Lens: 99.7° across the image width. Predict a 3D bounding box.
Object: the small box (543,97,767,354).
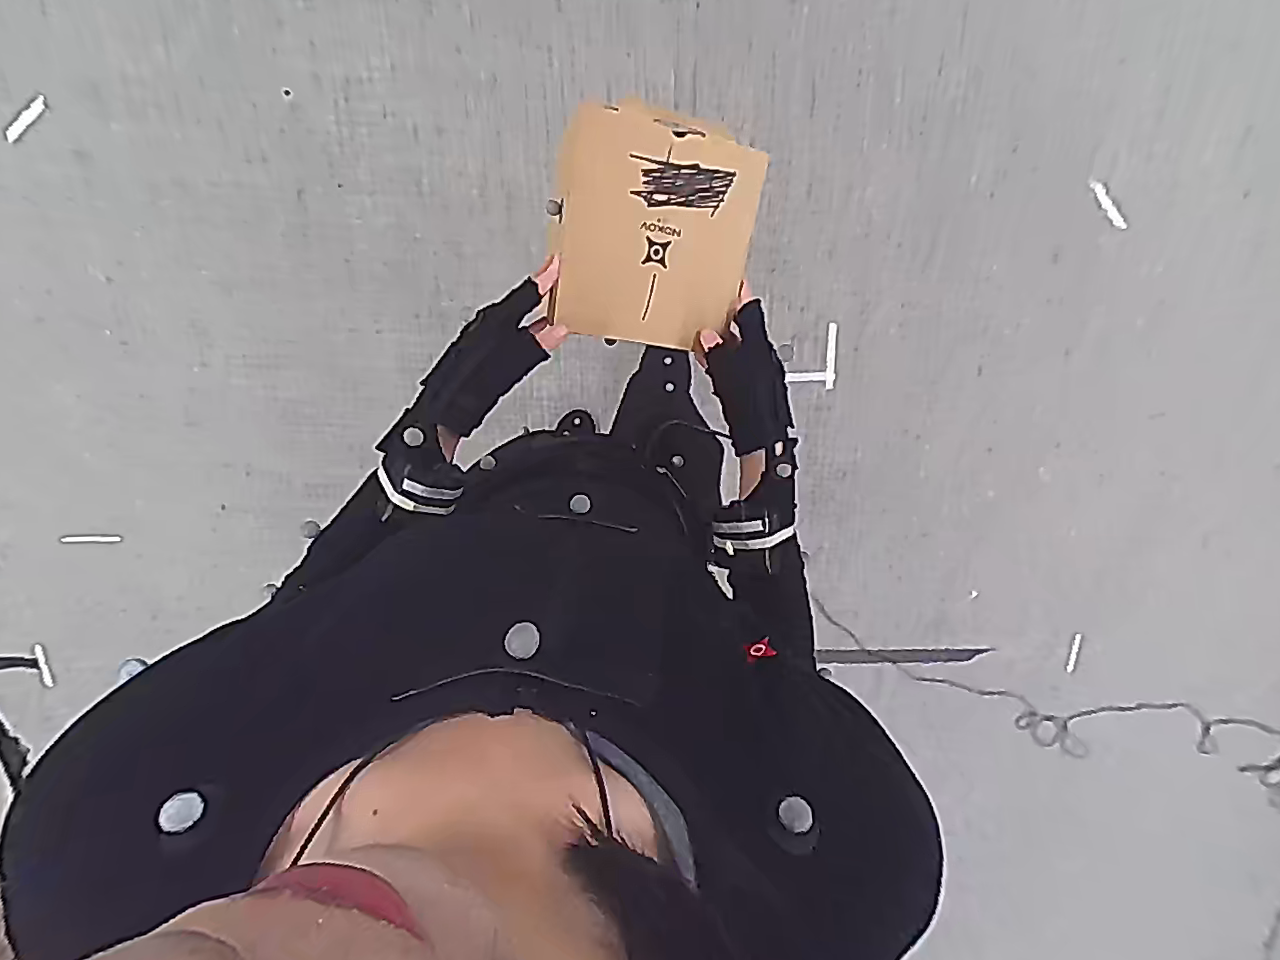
[{"bbox_3d":[-0.002,-0.234,0.535,0.168,0.176,0.179,5,109,-16],"label":"small box"}]
